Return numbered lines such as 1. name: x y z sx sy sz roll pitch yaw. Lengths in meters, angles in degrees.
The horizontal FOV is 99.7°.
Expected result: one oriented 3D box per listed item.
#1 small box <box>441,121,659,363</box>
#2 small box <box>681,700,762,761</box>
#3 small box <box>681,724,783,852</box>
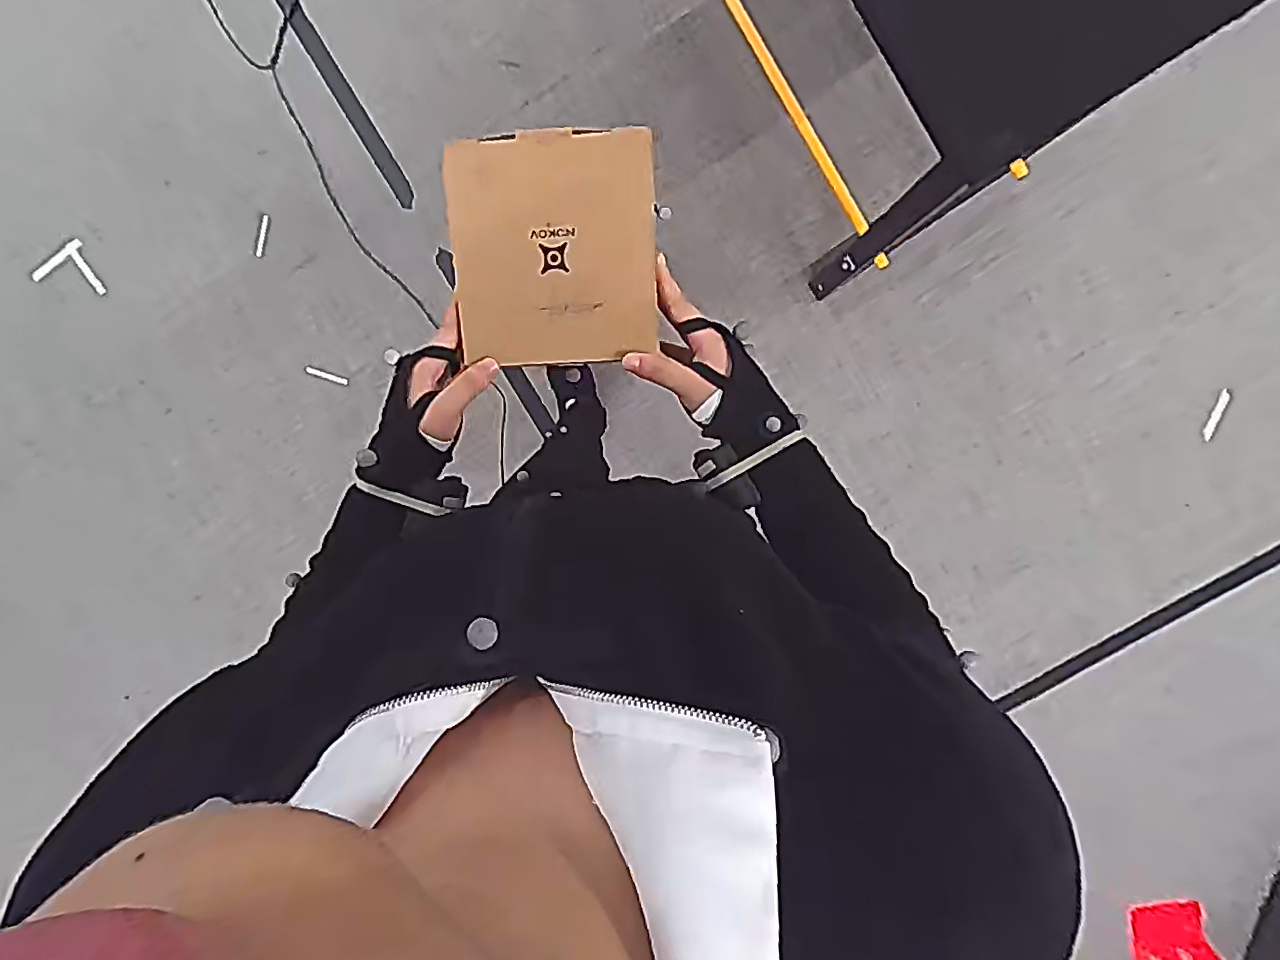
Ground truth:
1. small box: -0.068 -0.203 0.509 0.168 0.176 0.179 -2 103 3
2. small box: 0.218 0.725 1.460 0.168 0.176 0.179 -30 93 5
3. small box: 0.211 0.724 1.293 0.179 0.176 0.168 -32 94 6
